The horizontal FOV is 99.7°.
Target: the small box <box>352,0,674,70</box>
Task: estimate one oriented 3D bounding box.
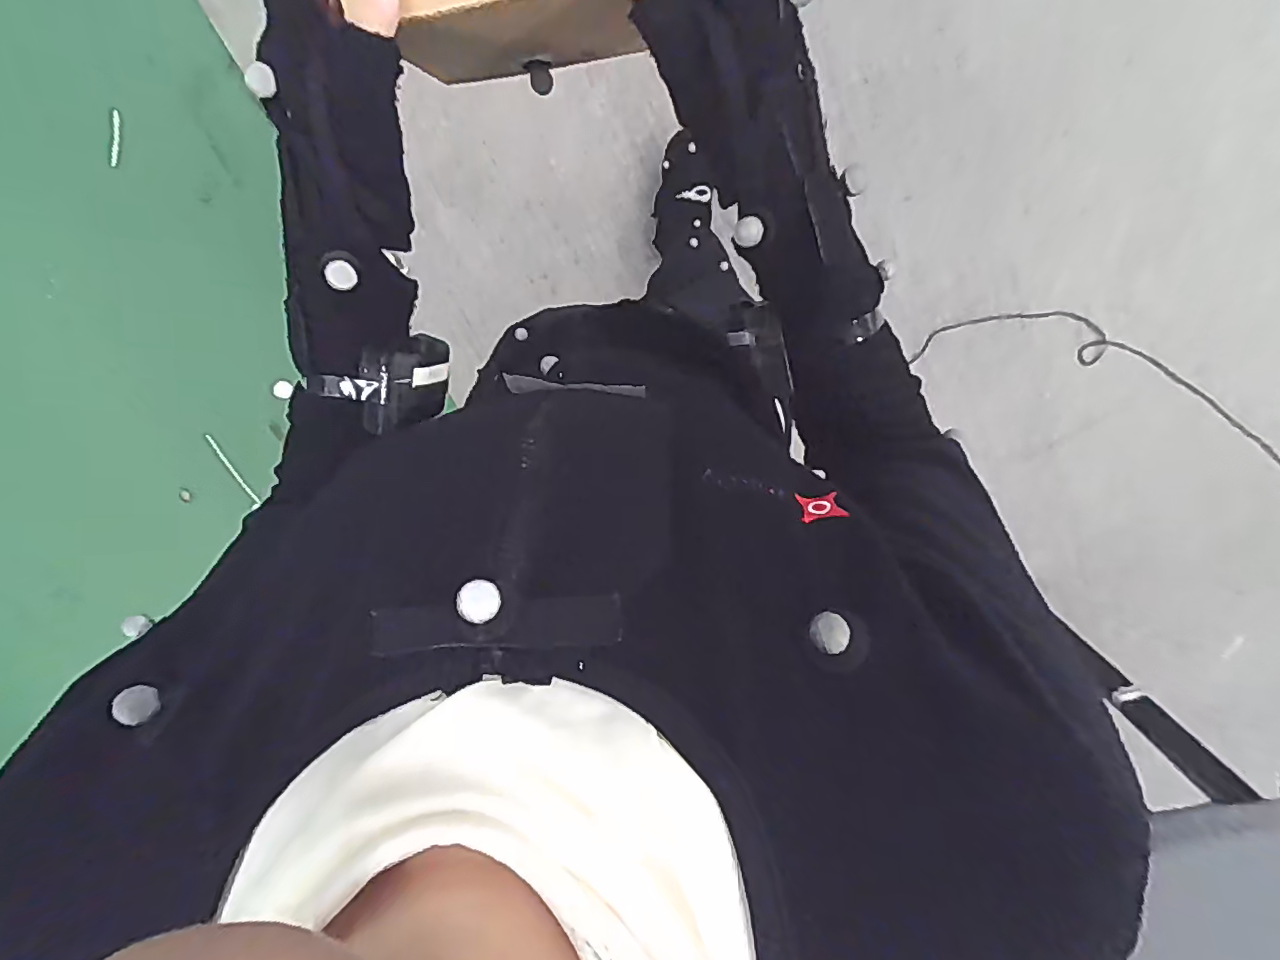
[{"bbox_3d":[-0.070,-0.347,0.282,0.168,0.176,0.179,-7,119,4],"label":"small box"}]
